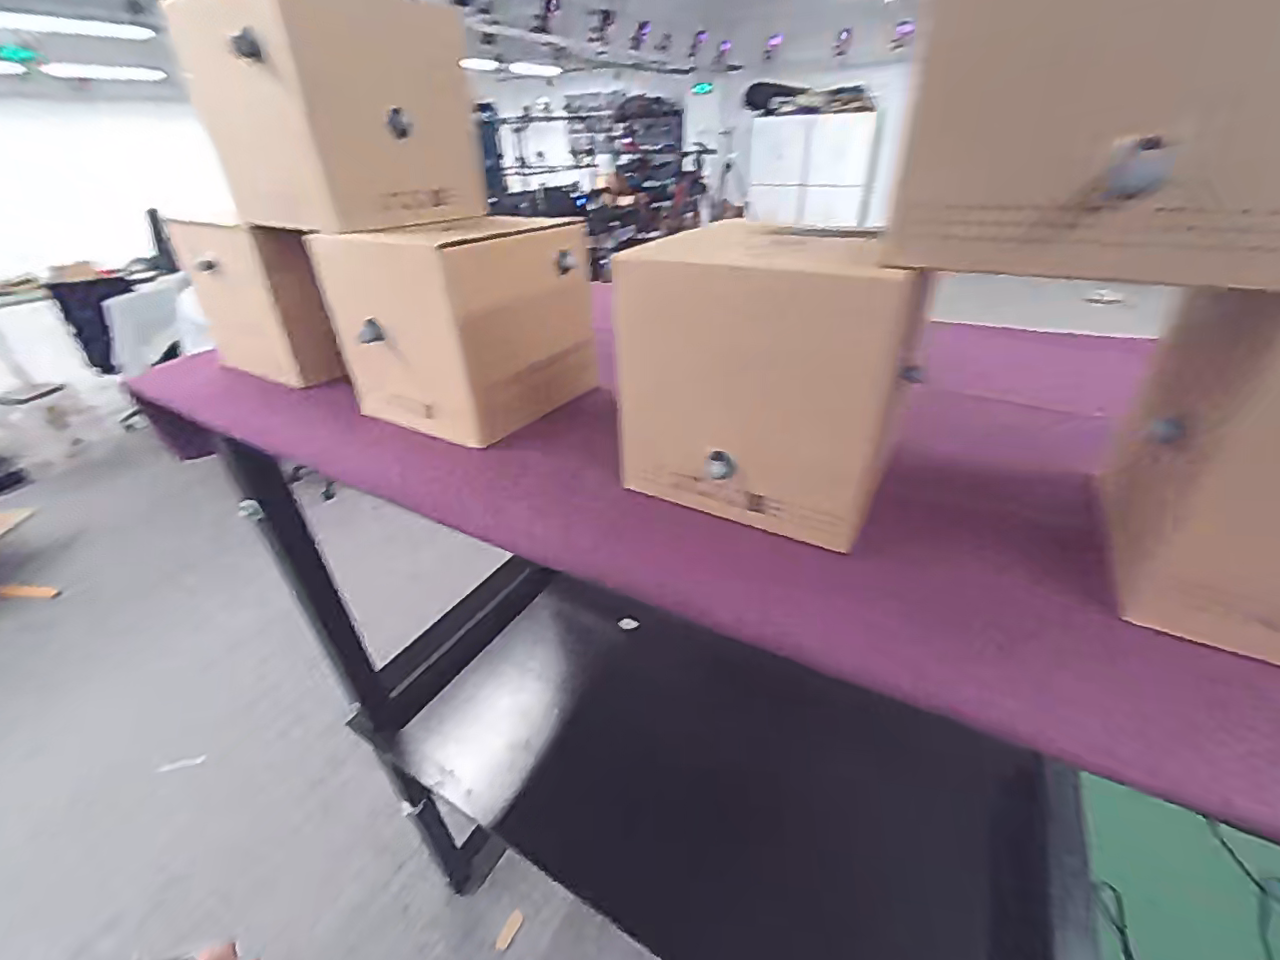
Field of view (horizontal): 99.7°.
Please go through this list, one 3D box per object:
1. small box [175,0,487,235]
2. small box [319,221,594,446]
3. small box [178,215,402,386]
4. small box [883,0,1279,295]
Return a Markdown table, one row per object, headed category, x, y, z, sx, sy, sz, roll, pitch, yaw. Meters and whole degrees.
| category | x | y | z | sx | sy | sz | roll | pitch | yaw |
| --- | --- | --- | --- | --- | --- | --- | --- | --- | --- |
| small box | -0.267 | -0.328 | 0.502 | 0.179 | 0.176 | 0.168 | 19 | 36 | 28 |
| small box | -0.157 | -0.148 | 0.520 | 0.168 | 0.176 | 0.179 | 16 | 35 | 28 |
| small box | -0.394 | -0.225 | 0.653 | 0.179 | 0.176 | 0.168 | 18 | 36 | 27 |
| small box | 0.230 | -0.187 | 0.242 | 0.179 | 0.176 | 0.168 | 15 | 35 | 26 |
